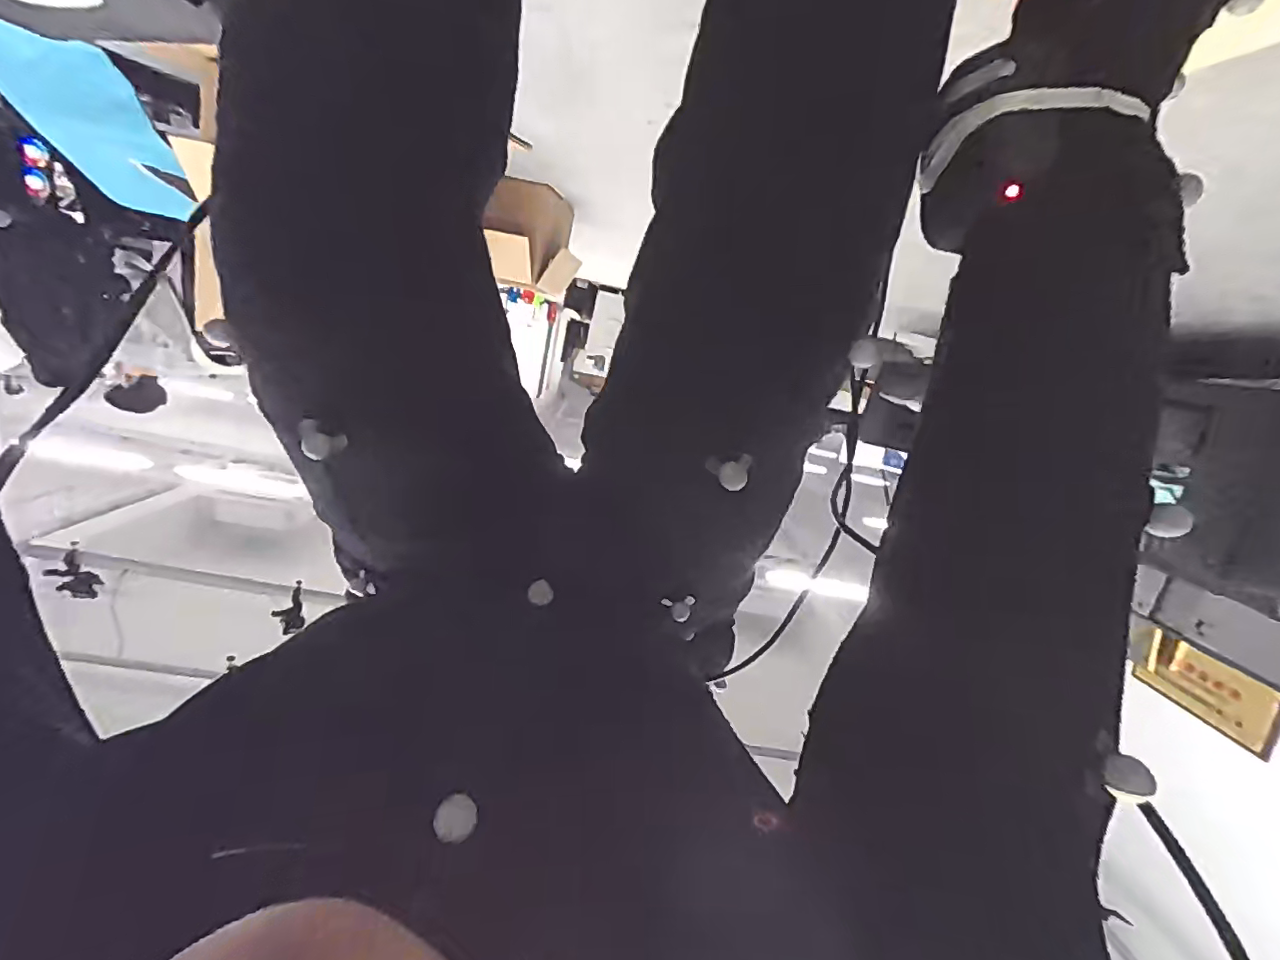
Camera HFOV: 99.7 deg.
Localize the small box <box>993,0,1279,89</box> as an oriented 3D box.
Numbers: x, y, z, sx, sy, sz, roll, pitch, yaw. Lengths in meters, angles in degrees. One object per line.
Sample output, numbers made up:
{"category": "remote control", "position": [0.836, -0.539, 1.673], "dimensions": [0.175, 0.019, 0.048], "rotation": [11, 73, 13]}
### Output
{"category": "small box", "position": [0.333, -0.346, 0.271], "dimensions": [0.179, 0.176, 0.168], "rotation": [9, -166, -18]}
